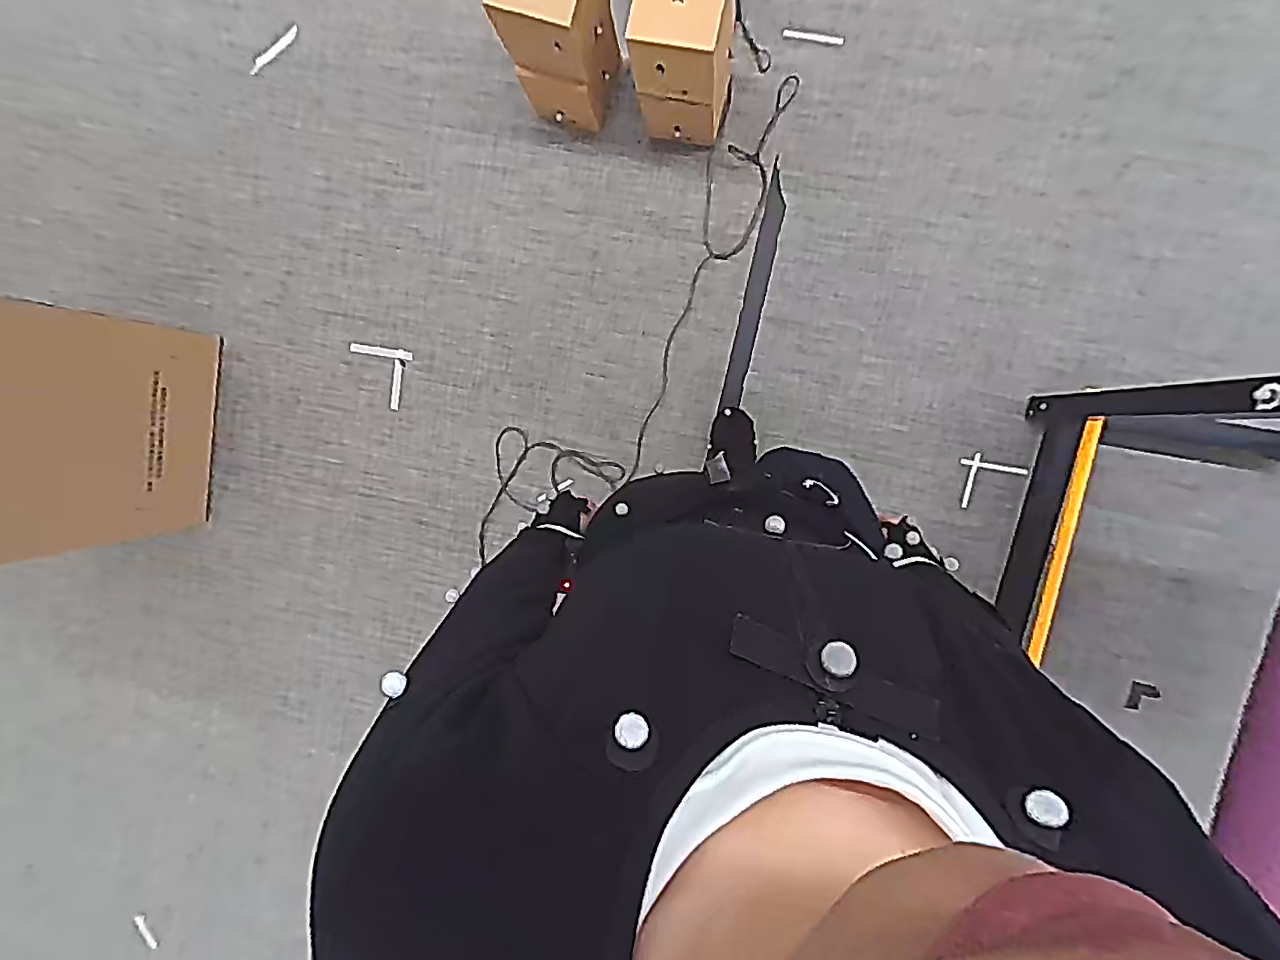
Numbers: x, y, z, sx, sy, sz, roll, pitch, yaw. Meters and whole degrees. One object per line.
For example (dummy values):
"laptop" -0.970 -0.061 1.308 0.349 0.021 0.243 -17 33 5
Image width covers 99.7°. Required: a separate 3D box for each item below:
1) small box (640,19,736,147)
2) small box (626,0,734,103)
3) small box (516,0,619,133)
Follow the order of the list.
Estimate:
"small box" 0.105 -0.874 1.185 0.168 0.176 0.179 14 97 6
"small box" 0.083 -0.860 1.025 0.168 0.176 0.179 14 96 6
"small box" -0.153 -0.927 1.209 0.168 0.176 0.179 19 99 4
